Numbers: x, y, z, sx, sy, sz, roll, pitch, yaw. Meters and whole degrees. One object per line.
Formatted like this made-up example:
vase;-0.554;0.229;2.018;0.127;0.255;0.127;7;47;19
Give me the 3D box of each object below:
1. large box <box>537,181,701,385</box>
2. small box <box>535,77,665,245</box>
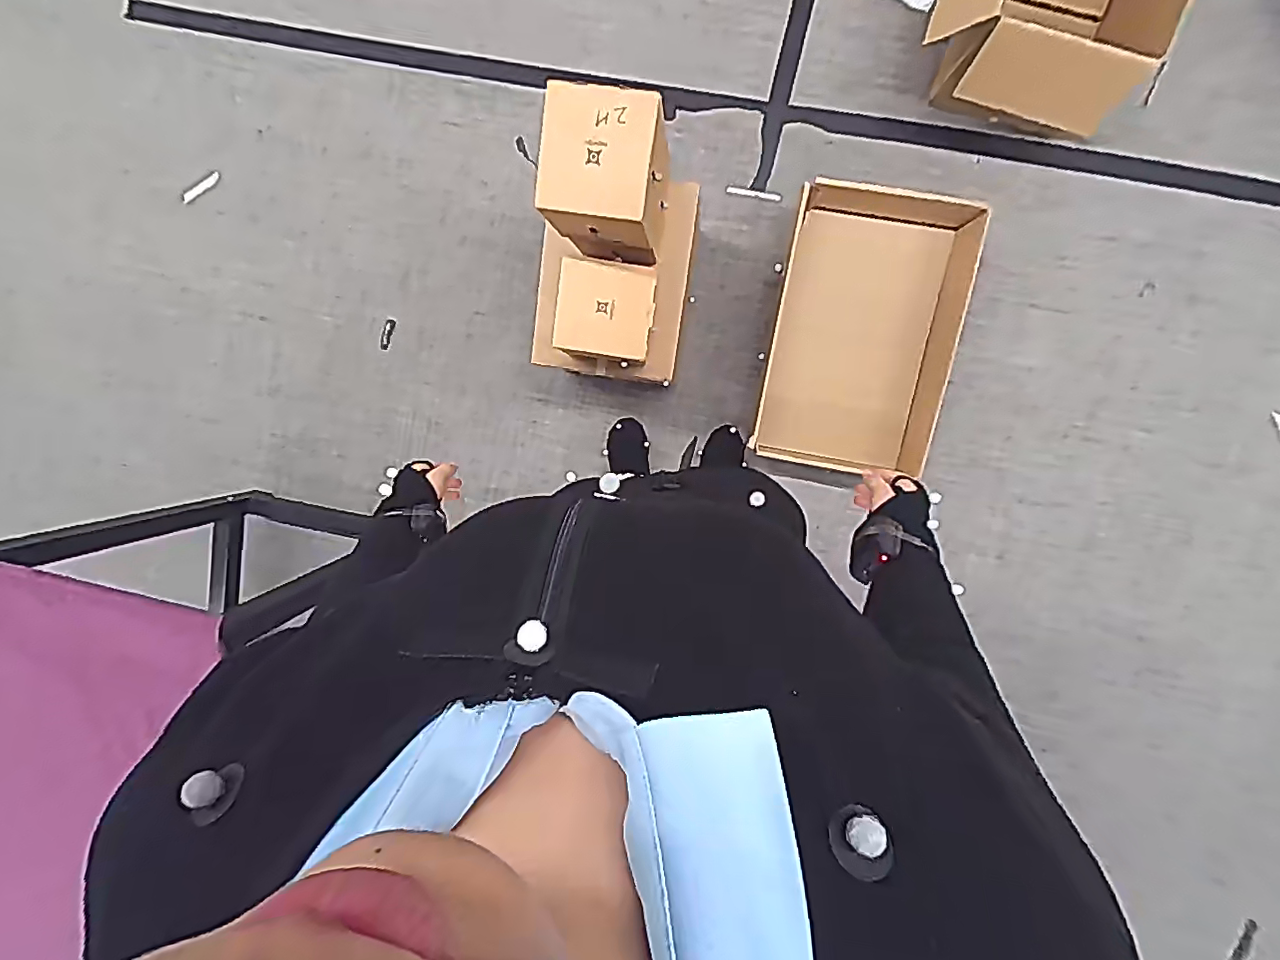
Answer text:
large box;-0.038;-0.447;1.276;0.320;0.320;0.408;9;100;5
small box;-0.055;-0.489;0.856;0.168;0.176;0.179;10;100;4
